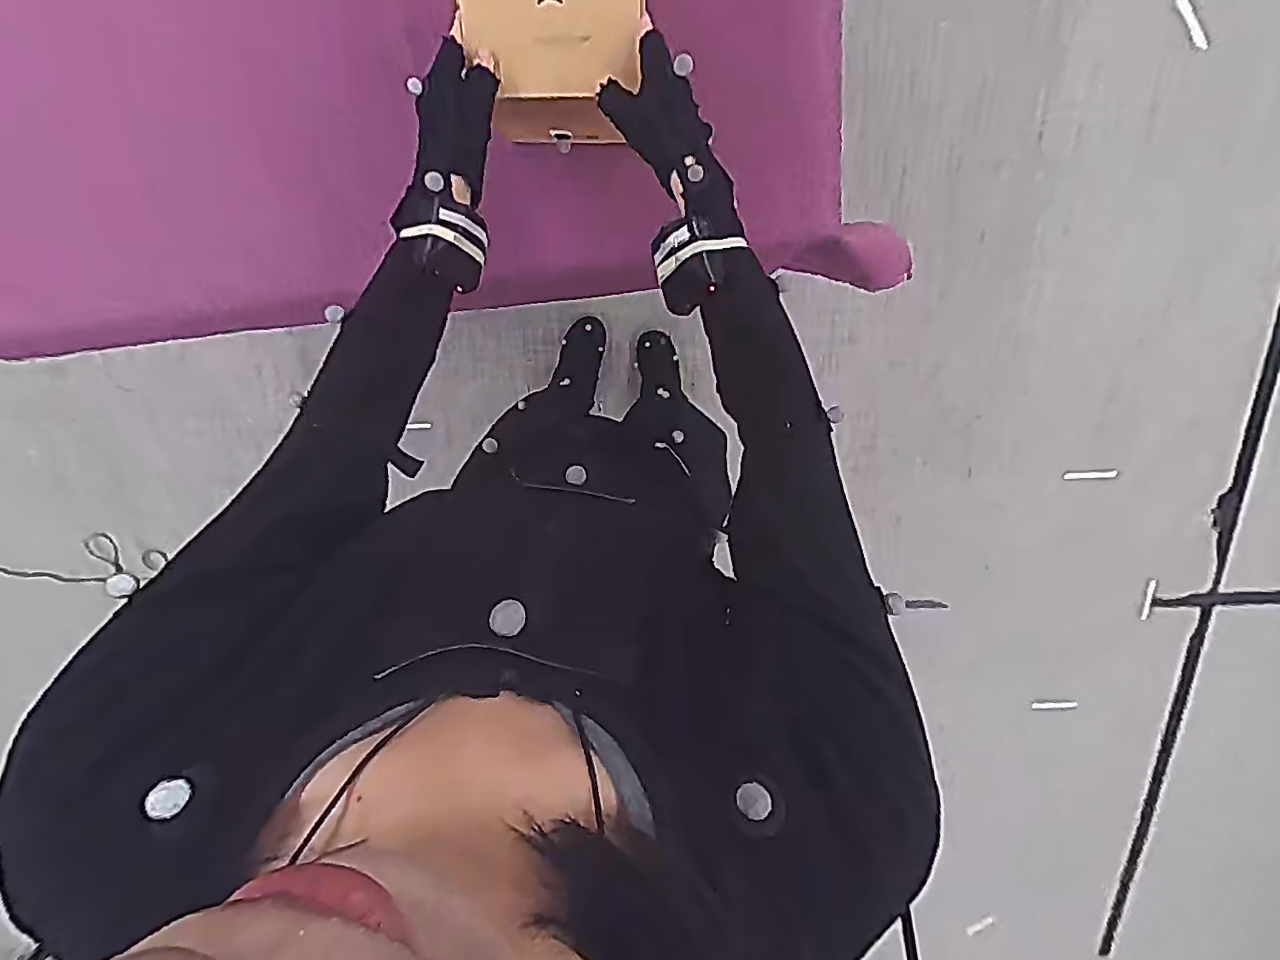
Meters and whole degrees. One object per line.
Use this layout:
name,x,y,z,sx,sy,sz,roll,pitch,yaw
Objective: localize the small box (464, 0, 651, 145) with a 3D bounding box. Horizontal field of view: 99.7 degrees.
small box,-0.074,-0.466,0.553,0.168,0.176,0.179,1,109,2
